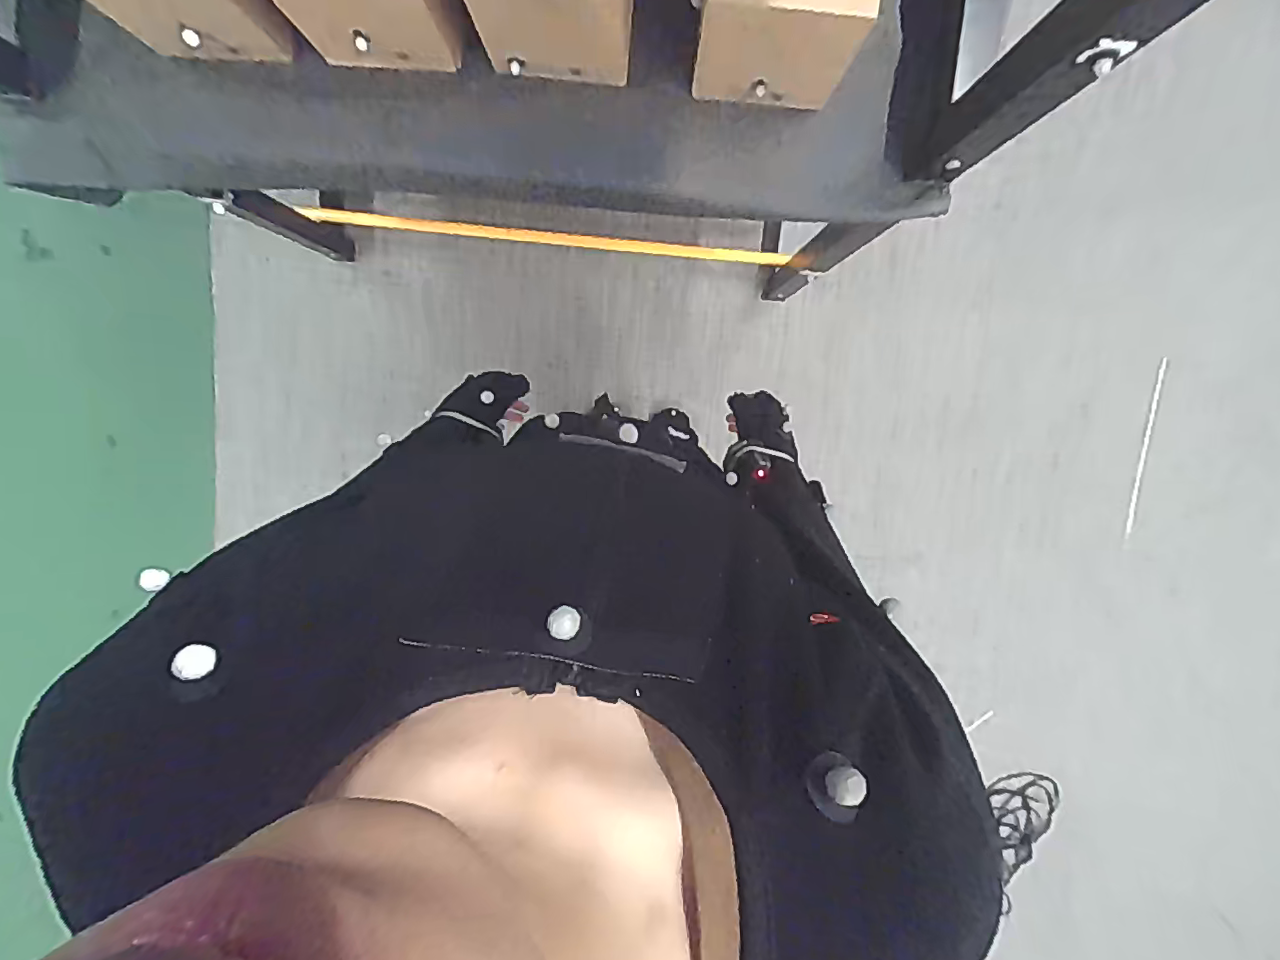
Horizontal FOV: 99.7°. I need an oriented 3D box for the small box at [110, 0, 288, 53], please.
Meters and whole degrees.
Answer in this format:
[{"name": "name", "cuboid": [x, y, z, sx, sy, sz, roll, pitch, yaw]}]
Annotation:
[{"name": "small box", "cuboid": [-0.503, -0.602, 0.568, 0.168, 0.176, 0.179, 3, 99, -1]}]
